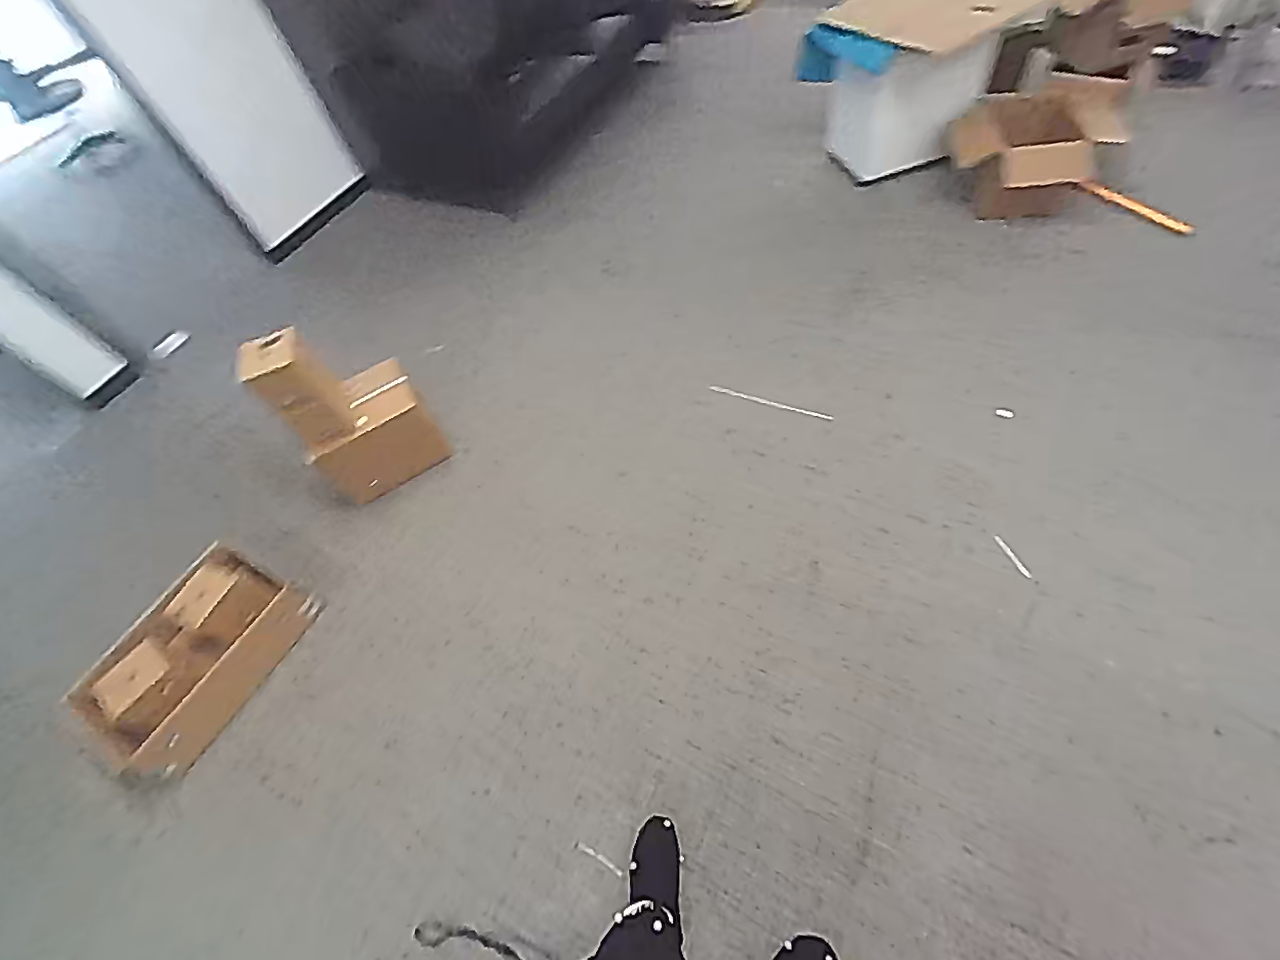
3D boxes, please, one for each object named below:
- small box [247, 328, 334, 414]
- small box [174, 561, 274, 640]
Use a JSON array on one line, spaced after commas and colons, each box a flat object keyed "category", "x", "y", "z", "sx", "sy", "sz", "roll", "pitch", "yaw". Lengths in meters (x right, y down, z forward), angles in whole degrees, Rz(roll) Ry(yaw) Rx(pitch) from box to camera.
[{"category": "small box", "x": -1.098, "y": -0.343, "z": 1.711, "sx": 0.168, "sy": 0.176, "sz": 0.179, "roll": -22, "pitch": 57, "yaw": -3}, {"category": "small box", "x": -1.359, "y": 0.402, "z": 1.787, "sx": 0.168, "sy": 0.176, "sz": 0.179, "roll": 17, "pitch": 62, "yaw": 21}]
